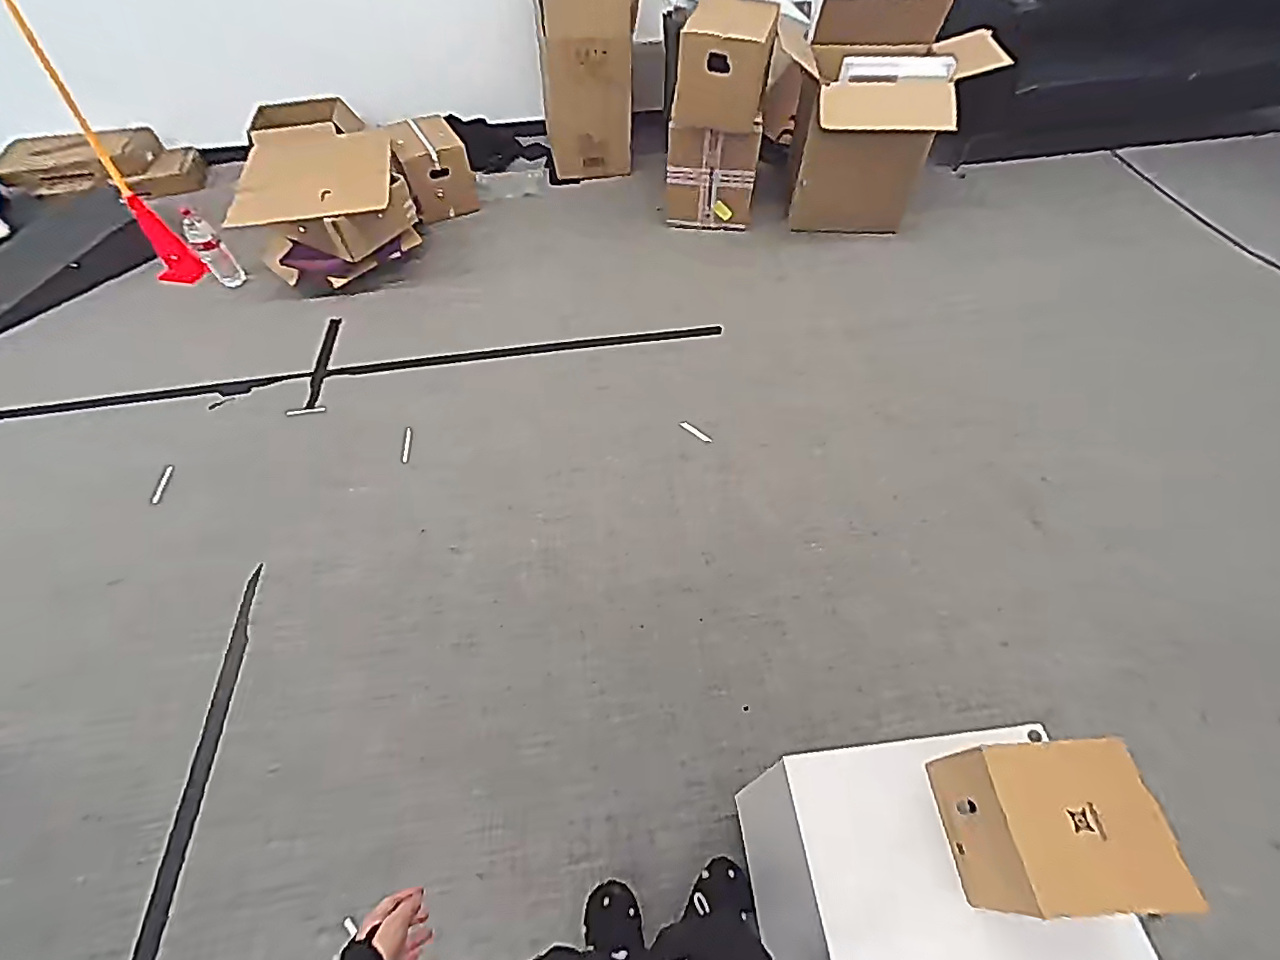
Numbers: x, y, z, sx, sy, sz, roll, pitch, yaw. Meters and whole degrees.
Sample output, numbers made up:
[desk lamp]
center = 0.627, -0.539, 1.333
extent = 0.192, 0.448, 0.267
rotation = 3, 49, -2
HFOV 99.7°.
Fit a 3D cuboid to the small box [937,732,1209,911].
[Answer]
[small box]
center = 0.498, 0.419, 0.664
extent = 0.179, 0.176, 0.168
rotation = -3, 55, -1
